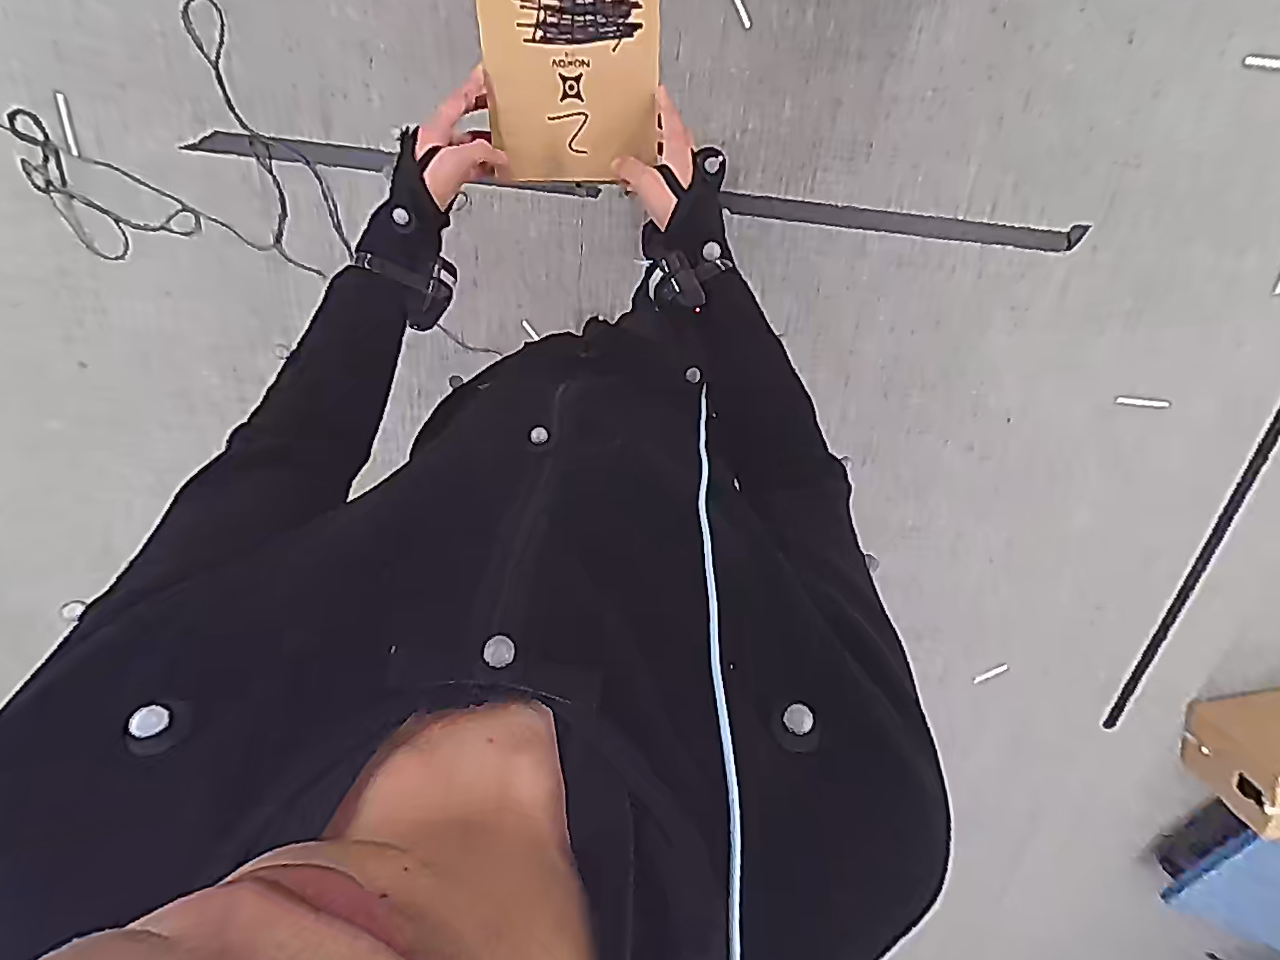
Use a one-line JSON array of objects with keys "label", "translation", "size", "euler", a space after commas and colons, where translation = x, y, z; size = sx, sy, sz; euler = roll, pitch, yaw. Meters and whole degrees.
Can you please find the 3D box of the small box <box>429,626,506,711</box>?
[{"label": "small box", "translation": [-0.515, 0.558, 1.618], "size": [0.179, 0.176, 0.168], "euler": [8, 110, -2]}]
